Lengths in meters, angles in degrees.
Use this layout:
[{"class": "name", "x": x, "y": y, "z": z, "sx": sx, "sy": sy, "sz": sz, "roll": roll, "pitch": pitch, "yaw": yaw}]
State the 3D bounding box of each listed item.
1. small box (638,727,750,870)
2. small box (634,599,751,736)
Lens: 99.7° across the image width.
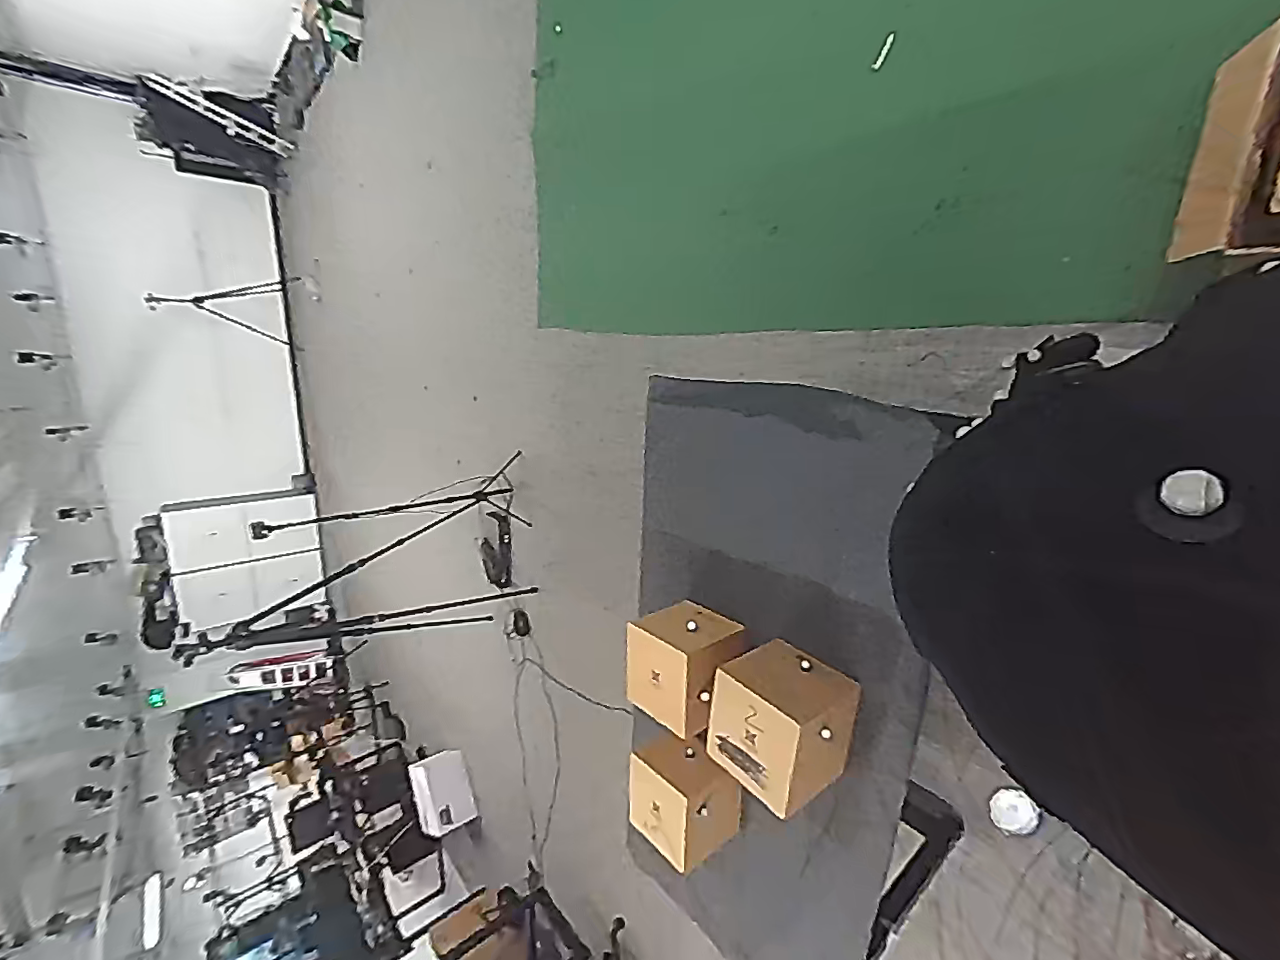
[{"class": "small box", "x": 0.113, "y": 0.638, "z": 1.123, "sx": 0.168, "sy": 0.176, "sz": 0.179, "roll": 15, "pitch": 109, "yaw": 49}, {"class": "small box", "x": 0.106, "y": 0.357, "z": 1.072, "sx": 0.168, "sy": 0.176, "sz": 0.179, "roll": 13, "pitch": 109, "yaw": 48}]
